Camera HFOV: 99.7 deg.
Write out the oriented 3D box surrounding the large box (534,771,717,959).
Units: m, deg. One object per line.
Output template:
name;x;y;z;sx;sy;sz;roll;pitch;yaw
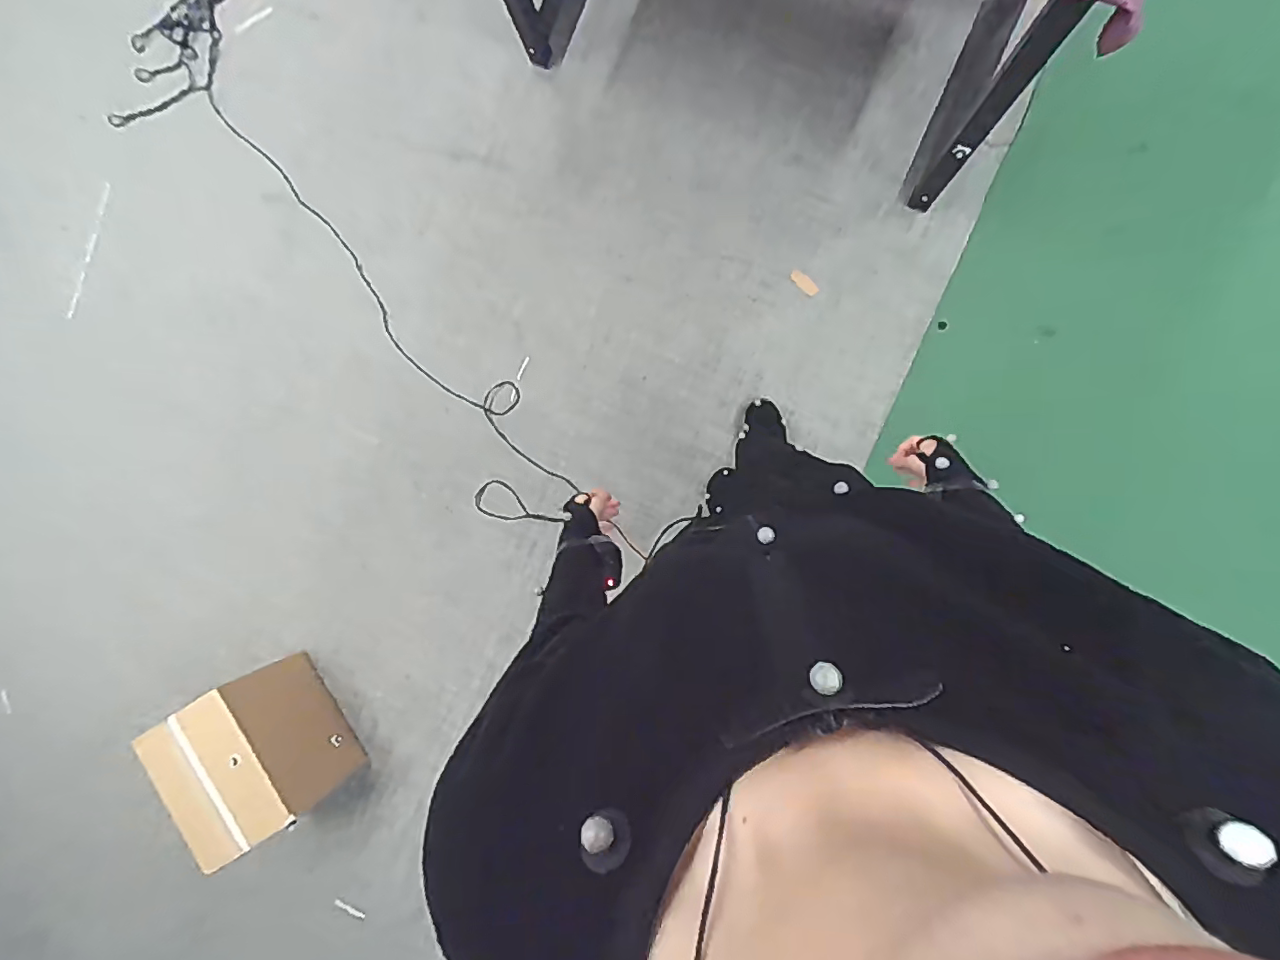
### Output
large box;-0.024;1.023;1.410;0.408;0.320;0.320;9;93;7
